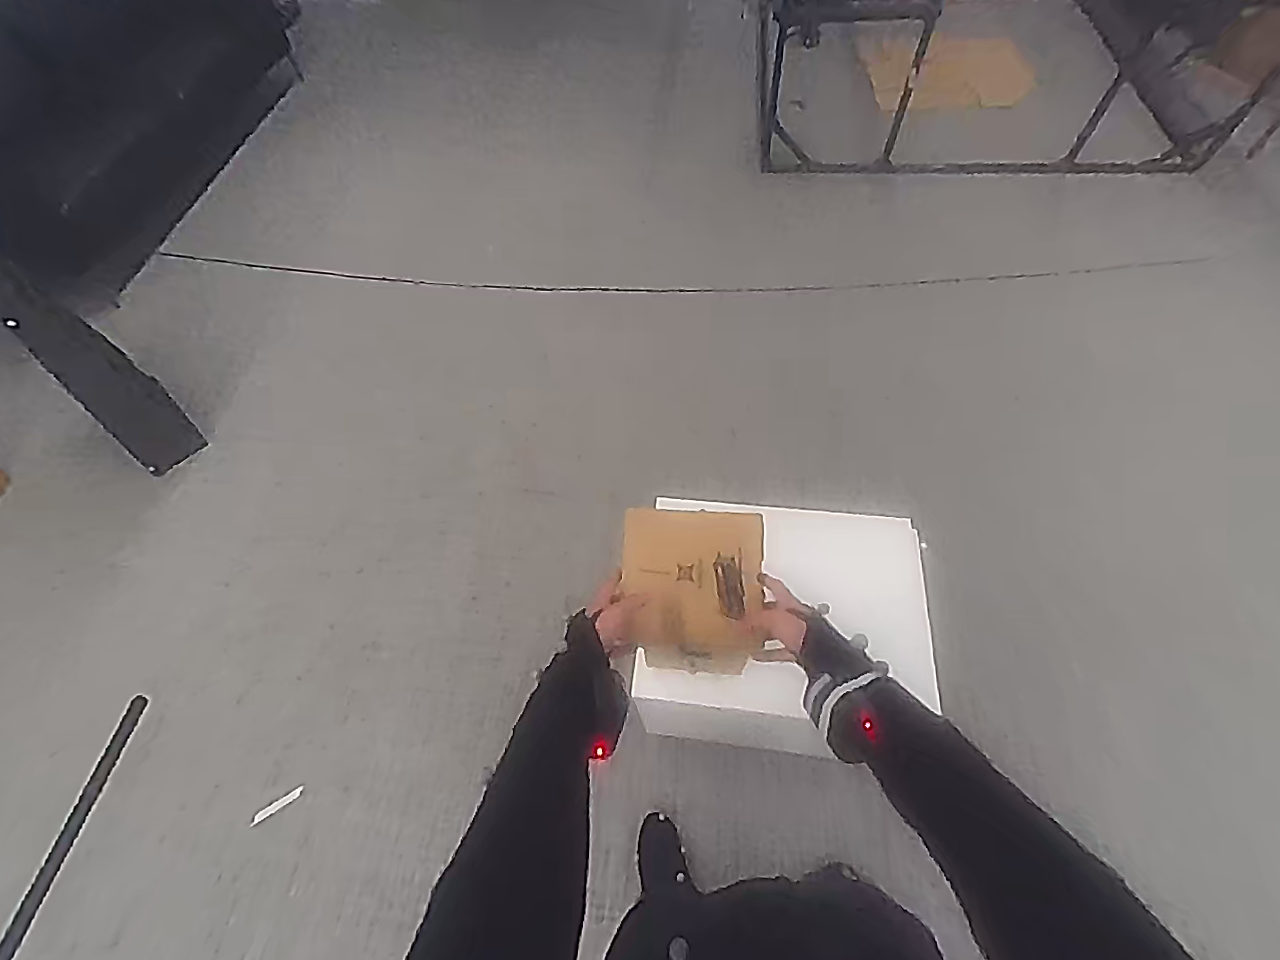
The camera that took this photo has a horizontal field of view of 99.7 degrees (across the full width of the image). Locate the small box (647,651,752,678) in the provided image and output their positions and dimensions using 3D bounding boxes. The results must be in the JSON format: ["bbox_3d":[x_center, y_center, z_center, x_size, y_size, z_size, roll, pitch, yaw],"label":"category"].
[{"bbox_3d":[0.097,0.218,0.906,0.168,0.176,0.179,3,60,6],"label":"small box"}]

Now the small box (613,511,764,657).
[{"bbox_3d":[0.065,0.146,0.725,0.179,0.176,0.168,2,70,6],"label":"small box"}]
